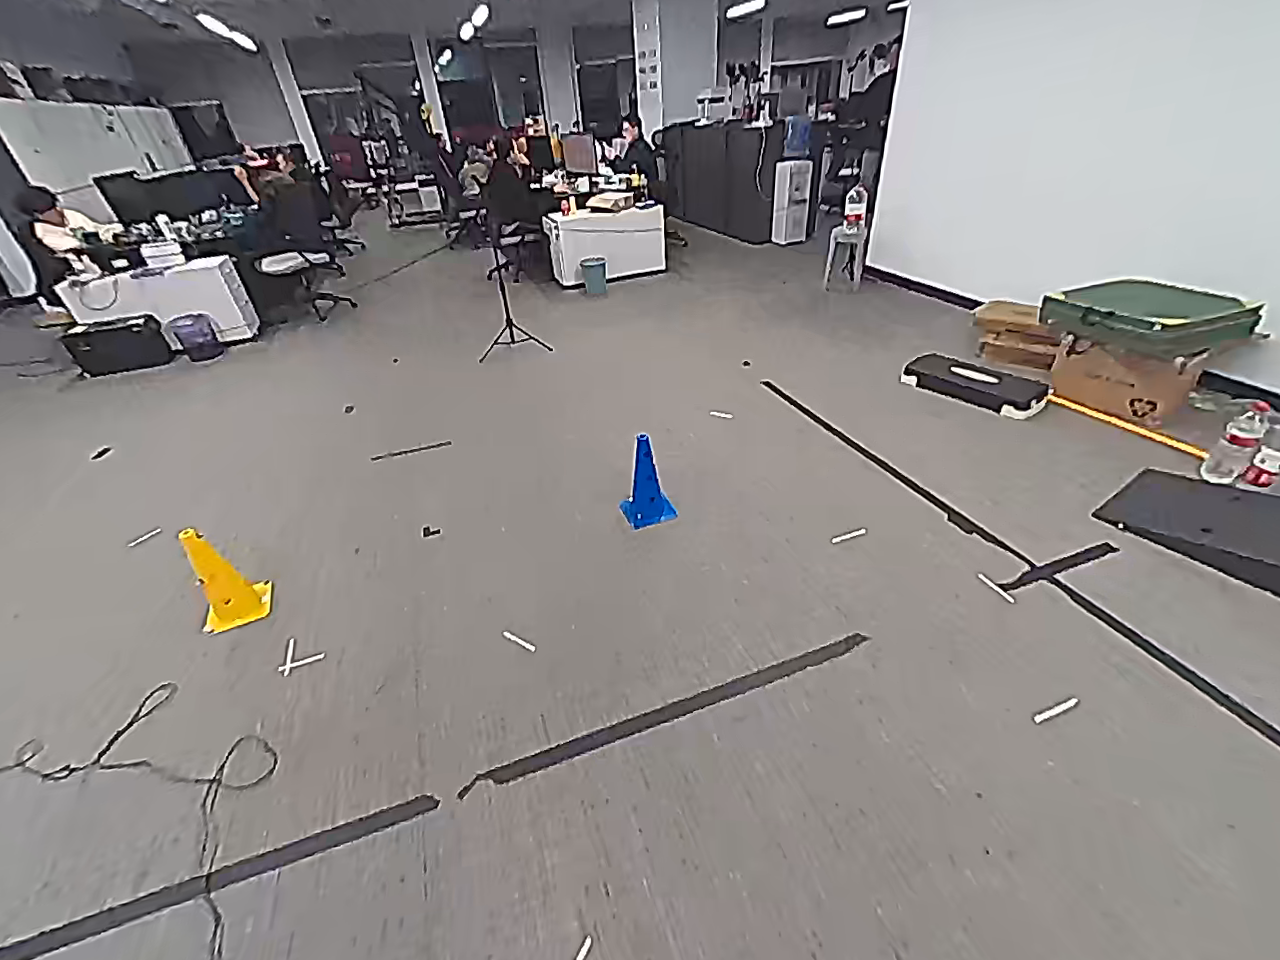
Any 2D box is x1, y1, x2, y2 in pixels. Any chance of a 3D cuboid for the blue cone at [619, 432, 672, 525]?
[{"bbox_3d":[0.012,-0.016,2.167,0.193,0.380,0.192,-14,35,-14],"label":"blue cone"}]
